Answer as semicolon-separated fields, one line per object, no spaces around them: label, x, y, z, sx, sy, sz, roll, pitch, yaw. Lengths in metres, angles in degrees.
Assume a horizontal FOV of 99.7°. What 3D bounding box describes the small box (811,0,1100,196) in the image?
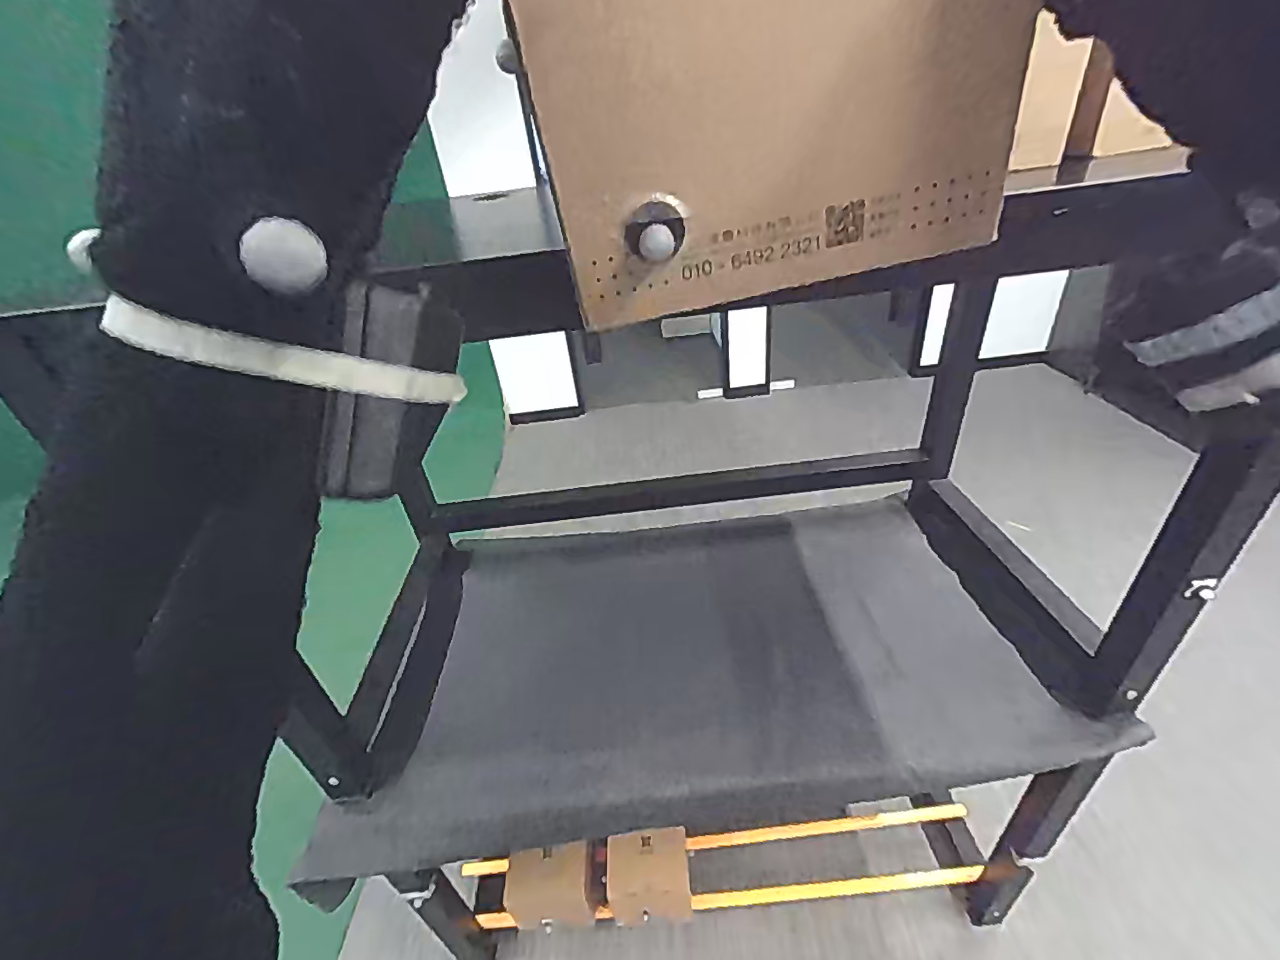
small box;0.265;-0.367;0.497;0.168;0.176;0.179;-7;34;1
